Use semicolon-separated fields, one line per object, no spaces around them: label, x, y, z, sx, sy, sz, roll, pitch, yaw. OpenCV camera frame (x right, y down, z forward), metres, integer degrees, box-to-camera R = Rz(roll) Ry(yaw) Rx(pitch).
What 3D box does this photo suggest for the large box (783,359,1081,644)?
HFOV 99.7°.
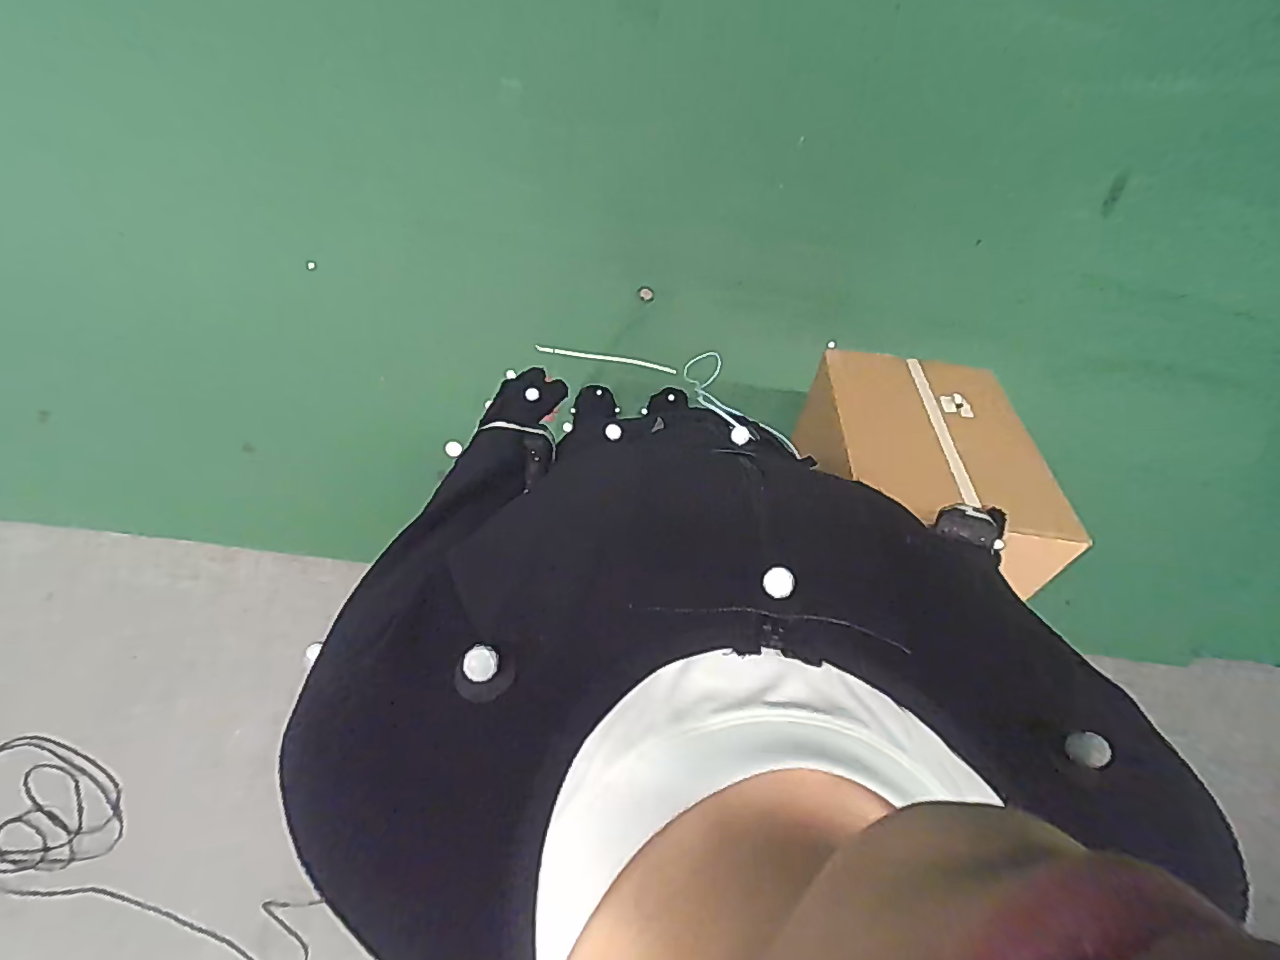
large box;0.462;0.035;0.981;0.320;0.408;0.320;8;136;1
